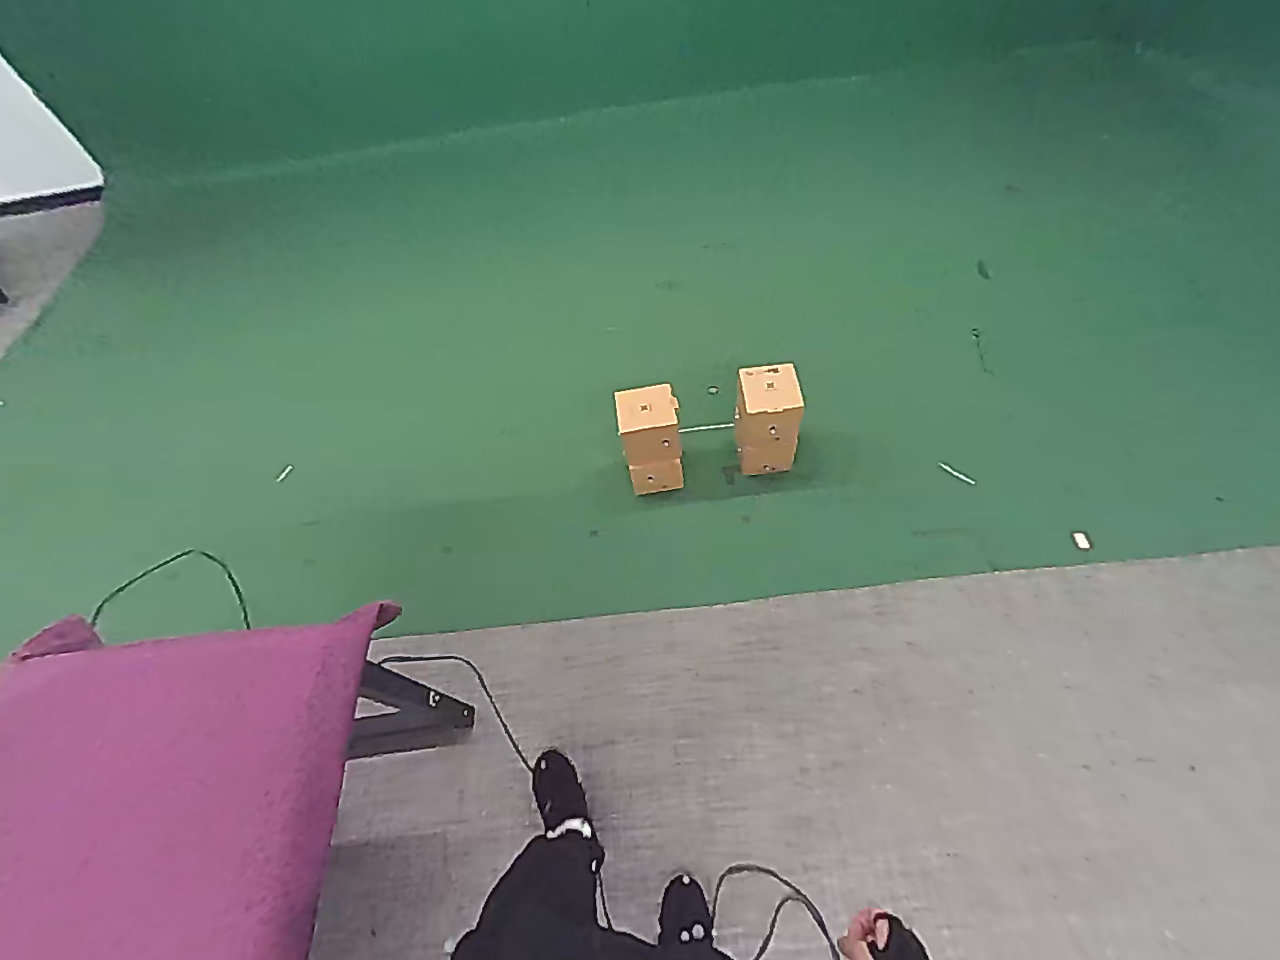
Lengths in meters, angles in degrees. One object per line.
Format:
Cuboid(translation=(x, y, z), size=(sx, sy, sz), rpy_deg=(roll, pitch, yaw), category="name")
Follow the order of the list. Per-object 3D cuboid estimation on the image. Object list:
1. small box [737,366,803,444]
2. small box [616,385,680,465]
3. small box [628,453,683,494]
Cuboid(translation=(0.392, -0.223, 1.658), size=(0.168, 0.176, 0.179), rpy_deg=(-5, 59, 4), category="small box")
Cuboid(translation=(0.027, -0.165, 1.676), size=(0.179, 0.176, 0.168), rpy_deg=(-9, 56, 3), category="small box")
Cuboid(translation=(0.047, -0.065, 1.803), size=(0.168, 0.176, 0.179), rpy_deg=(-9, 56, 2), category="small box")
